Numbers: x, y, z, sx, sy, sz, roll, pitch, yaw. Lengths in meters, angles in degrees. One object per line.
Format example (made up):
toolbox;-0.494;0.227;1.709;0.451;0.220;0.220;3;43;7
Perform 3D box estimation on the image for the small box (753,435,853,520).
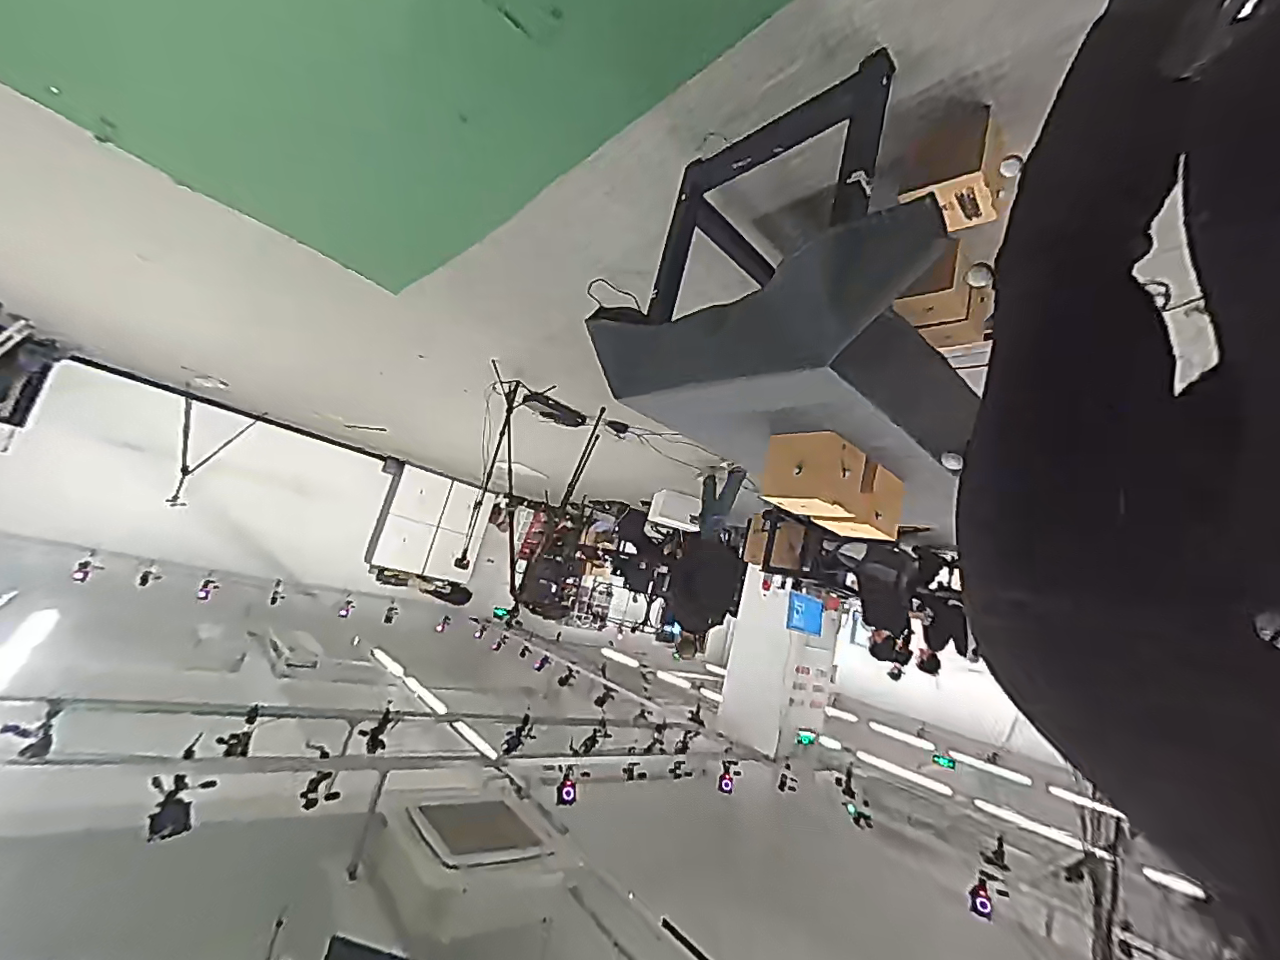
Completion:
small box;0.408;-0.006;1.335;0.168;0.176;0.179;23;165;-37
